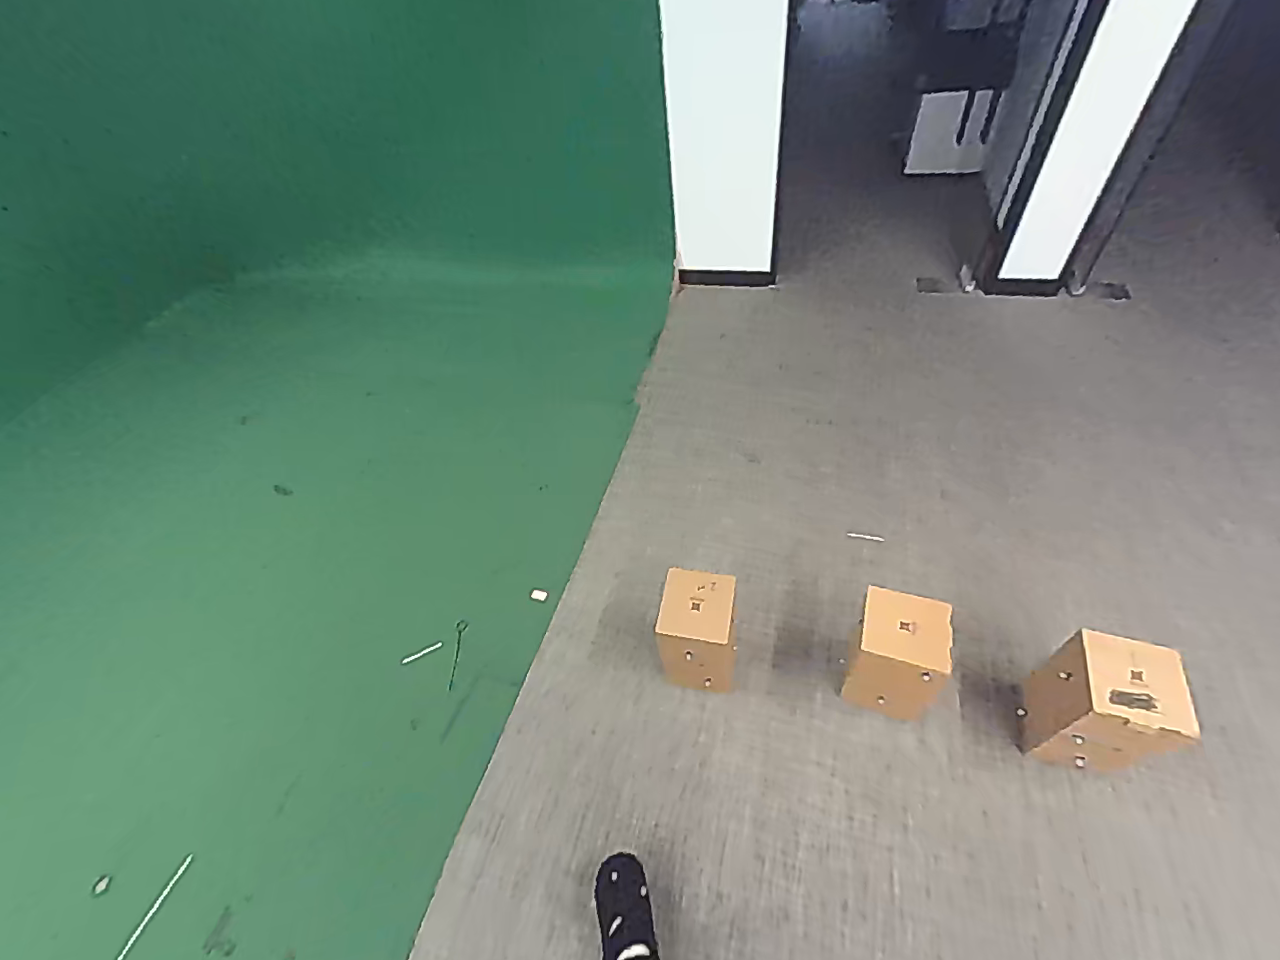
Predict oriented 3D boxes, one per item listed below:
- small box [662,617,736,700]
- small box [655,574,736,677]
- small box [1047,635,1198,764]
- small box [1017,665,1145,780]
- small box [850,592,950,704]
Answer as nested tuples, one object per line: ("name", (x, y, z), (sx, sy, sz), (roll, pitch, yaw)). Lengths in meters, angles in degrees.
("small box", (0.163, 0.463, 1.442), (0.168, 0.176, 0.179), (7, 50, 14))
("small box", (0.140, 0.357, 1.318), (0.168, 0.176, 0.179), (7, 50, 13))
("small box", (0.964, 0.449, 1.101), (0.168, 0.176, 0.179), (11, 51, 18))
("small box", (0.987, 0.554, 1.226), (0.168, 0.176, 0.179), (10, 52, 17))
("small box", (0.583, 0.383, 1.223), (0.179, 0.176, 0.168), (11, 51, 18))
